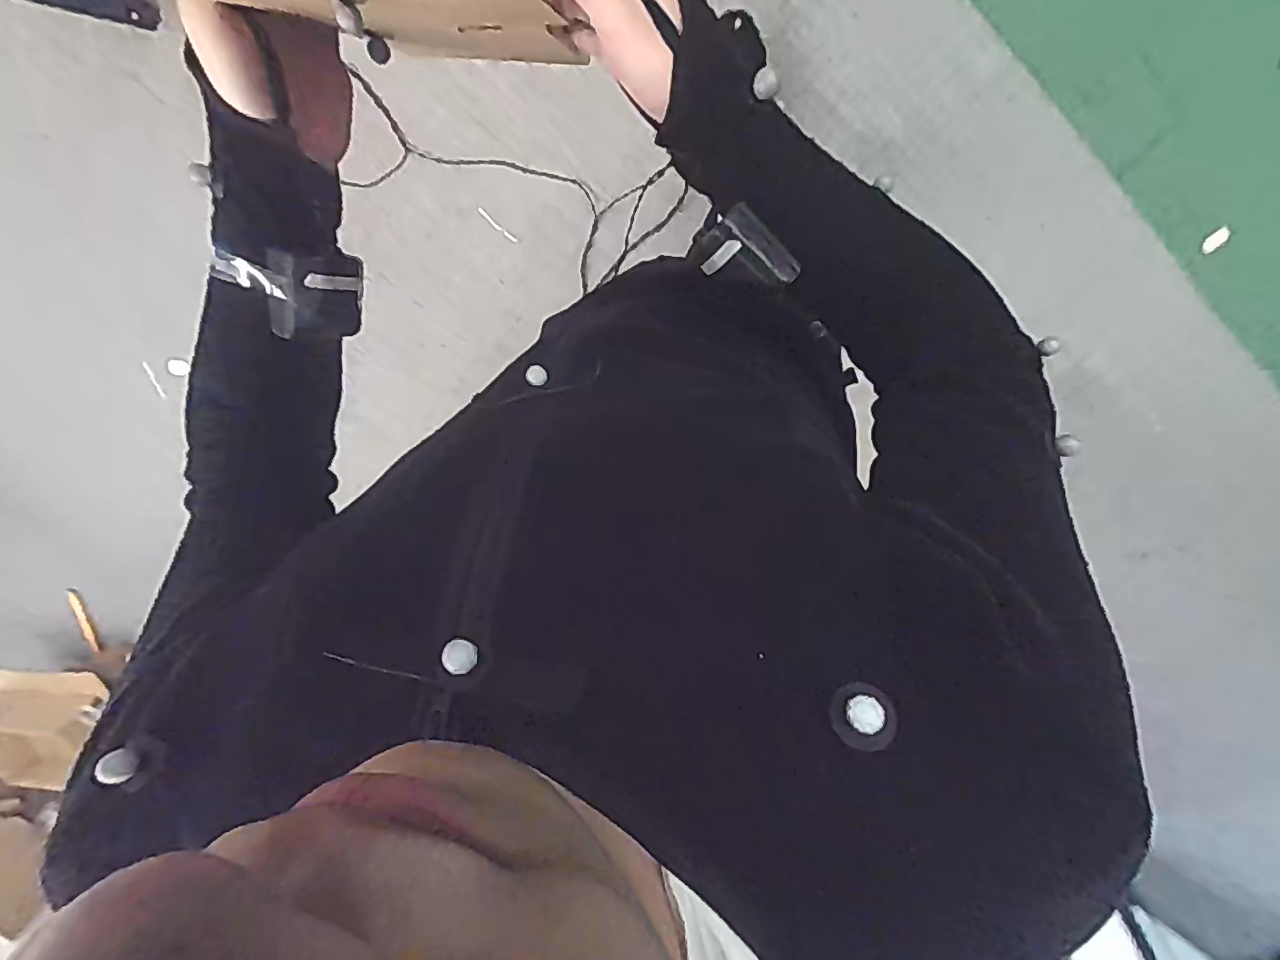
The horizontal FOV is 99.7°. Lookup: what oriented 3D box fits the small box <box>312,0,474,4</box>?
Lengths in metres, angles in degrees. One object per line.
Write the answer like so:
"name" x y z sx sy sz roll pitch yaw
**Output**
"small box" -0.139 -0.326 0.228 0.179 0.176 0.168 3 122 6
